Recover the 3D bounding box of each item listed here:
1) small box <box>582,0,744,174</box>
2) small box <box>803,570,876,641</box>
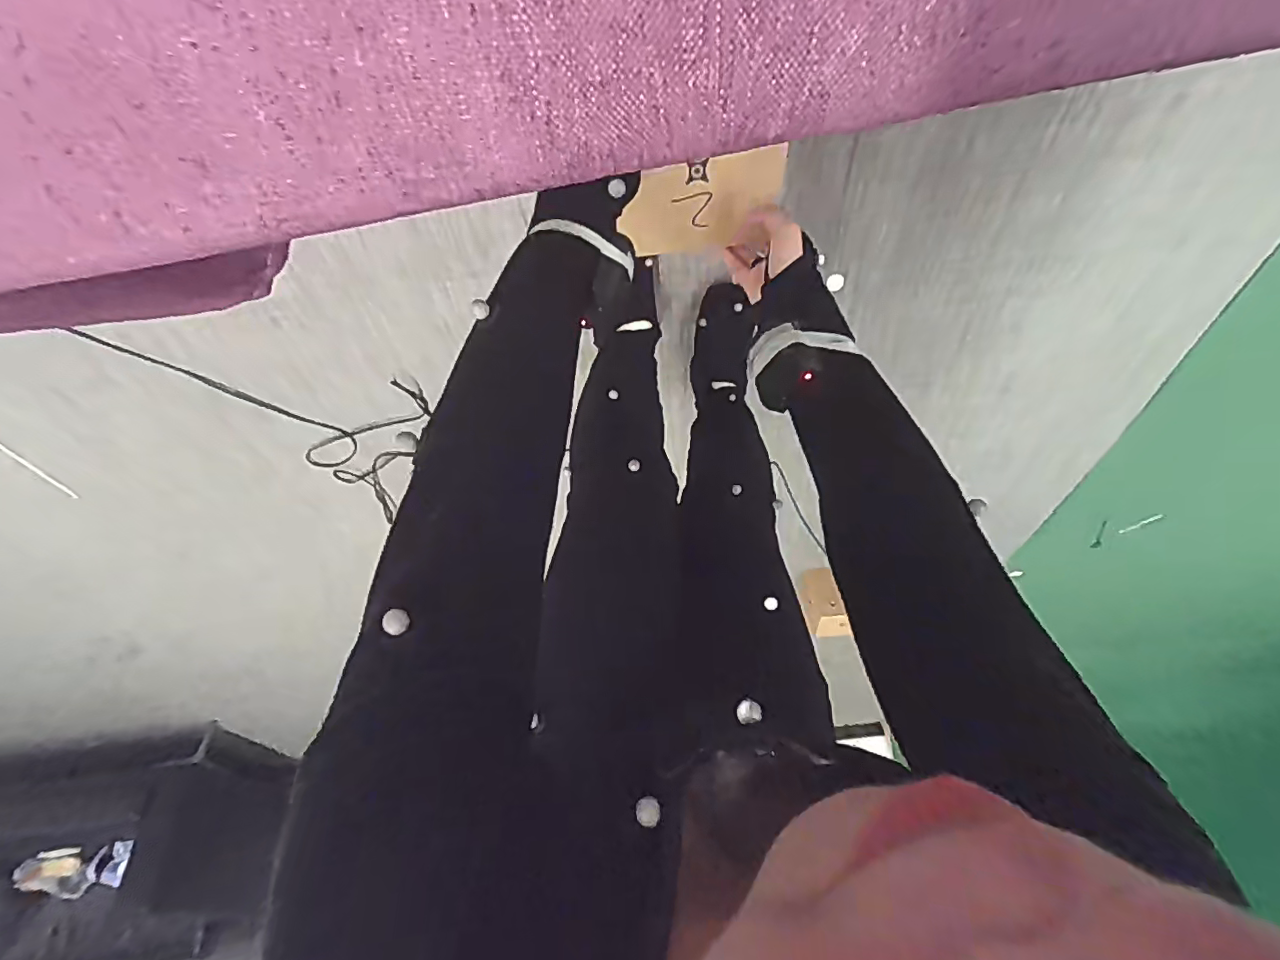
[{"bbox_3d":[0.027,-0.499,0.646,0.168,0.176,0.179,-6,140,2],"label":"small box"},{"bbox_3d":[0.649,0.414,1.787,0.179,0.176,0.168,-7,141,3],"label":"small box"}]
